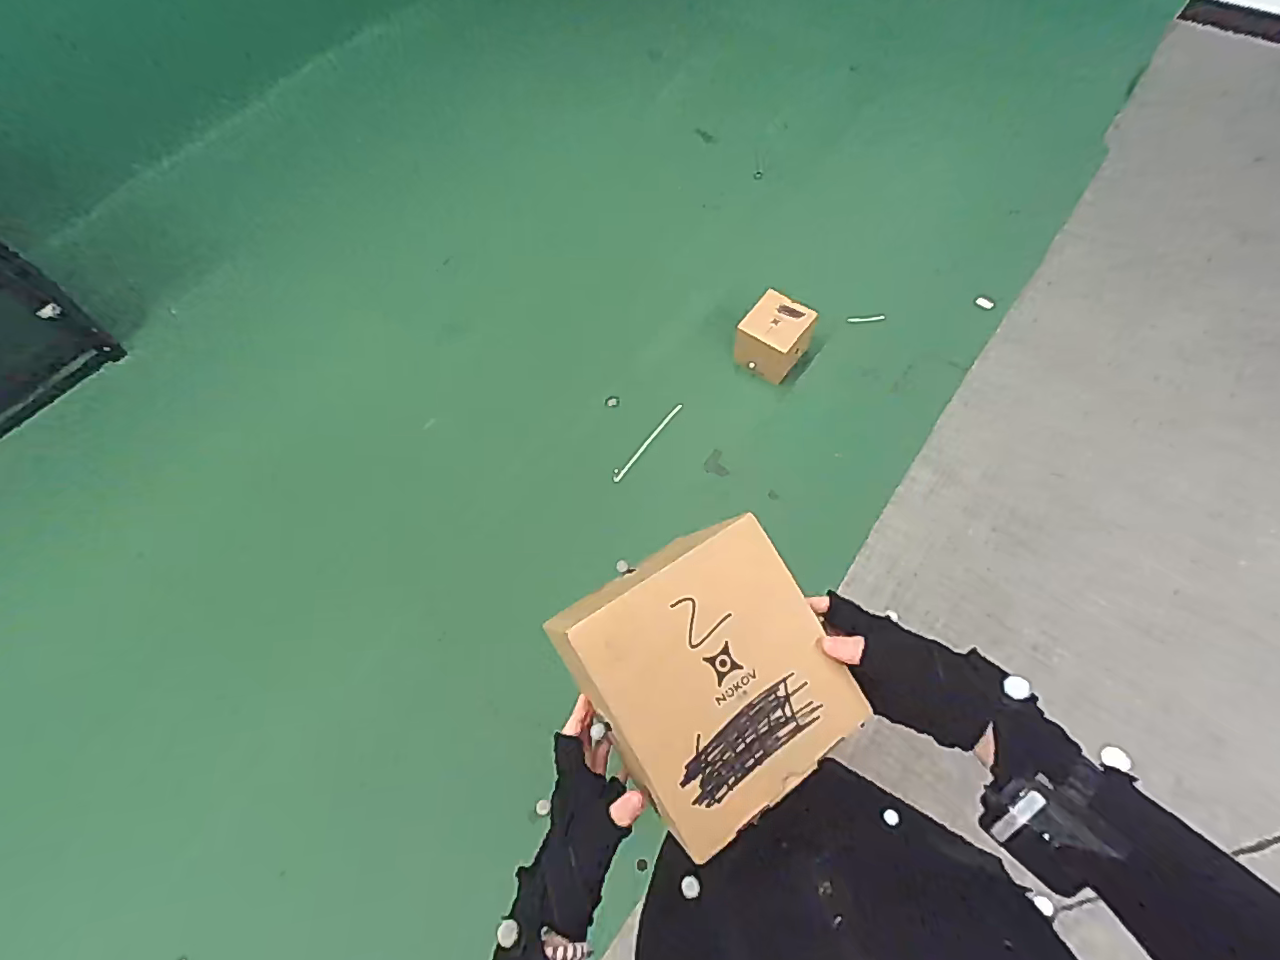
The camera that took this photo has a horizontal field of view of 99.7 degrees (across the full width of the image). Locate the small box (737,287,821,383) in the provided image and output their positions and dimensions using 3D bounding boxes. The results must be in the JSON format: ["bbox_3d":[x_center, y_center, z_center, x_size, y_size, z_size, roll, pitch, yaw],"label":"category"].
[{"bbox_3d":[0.404,-0.427,1.609,0.168,0.176,0.179,35,74,18],"label":"small box"}]
